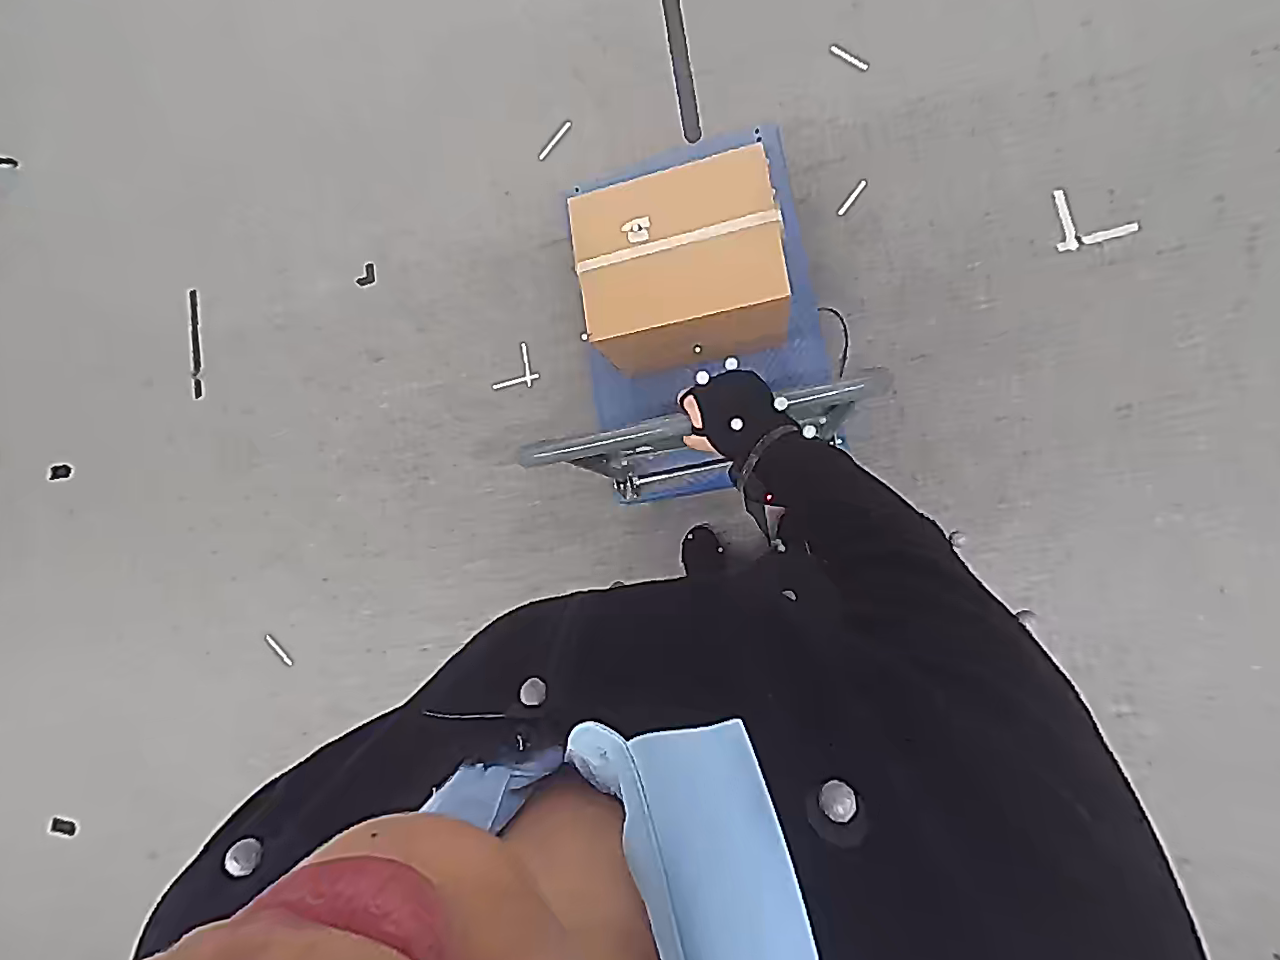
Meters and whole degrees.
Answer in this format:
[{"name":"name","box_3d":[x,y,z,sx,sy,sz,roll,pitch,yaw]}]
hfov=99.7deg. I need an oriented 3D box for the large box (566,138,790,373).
[{"name":"large box","box_3d":[0.097,-0.457,1.195,0.408,0.320,0.320,-10,84,13]}]
